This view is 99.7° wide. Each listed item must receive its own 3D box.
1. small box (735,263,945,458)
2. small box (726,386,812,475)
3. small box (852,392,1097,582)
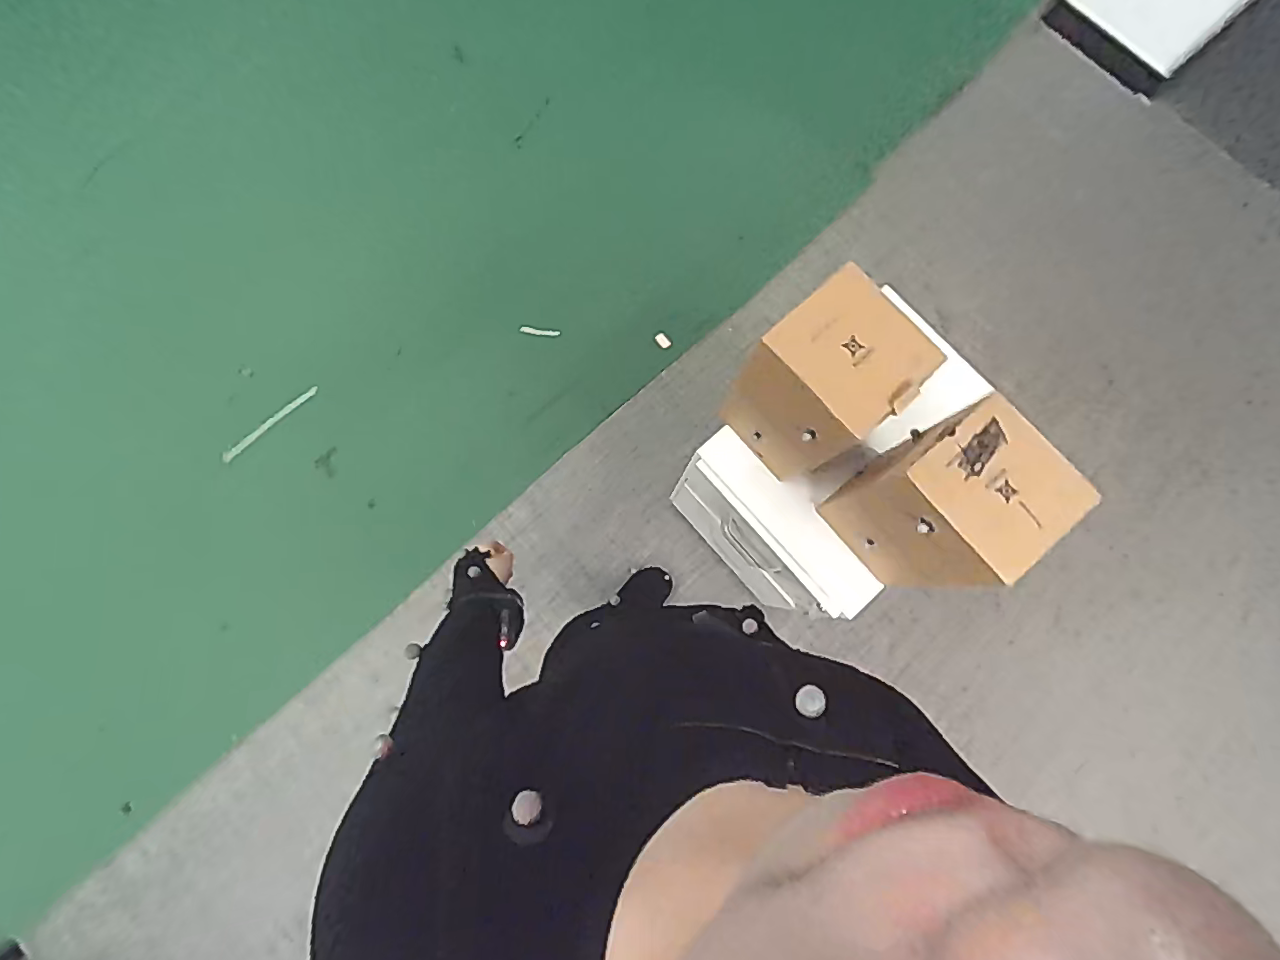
[{"bbox_3d":[0.258,-0.147,0.741,0.168,0.176,0.179,-41,84,-10],"label":"small box"},{"bbox_3d":[0.262,-0.129,0.903,0.179,0.176,0.168,-40,85,-9],"label":"small box"},{"bbox_3d":[0.420,0.022,0.714,0.168,0.176,0.179,-38,82,-8],"label":"small box"}]
